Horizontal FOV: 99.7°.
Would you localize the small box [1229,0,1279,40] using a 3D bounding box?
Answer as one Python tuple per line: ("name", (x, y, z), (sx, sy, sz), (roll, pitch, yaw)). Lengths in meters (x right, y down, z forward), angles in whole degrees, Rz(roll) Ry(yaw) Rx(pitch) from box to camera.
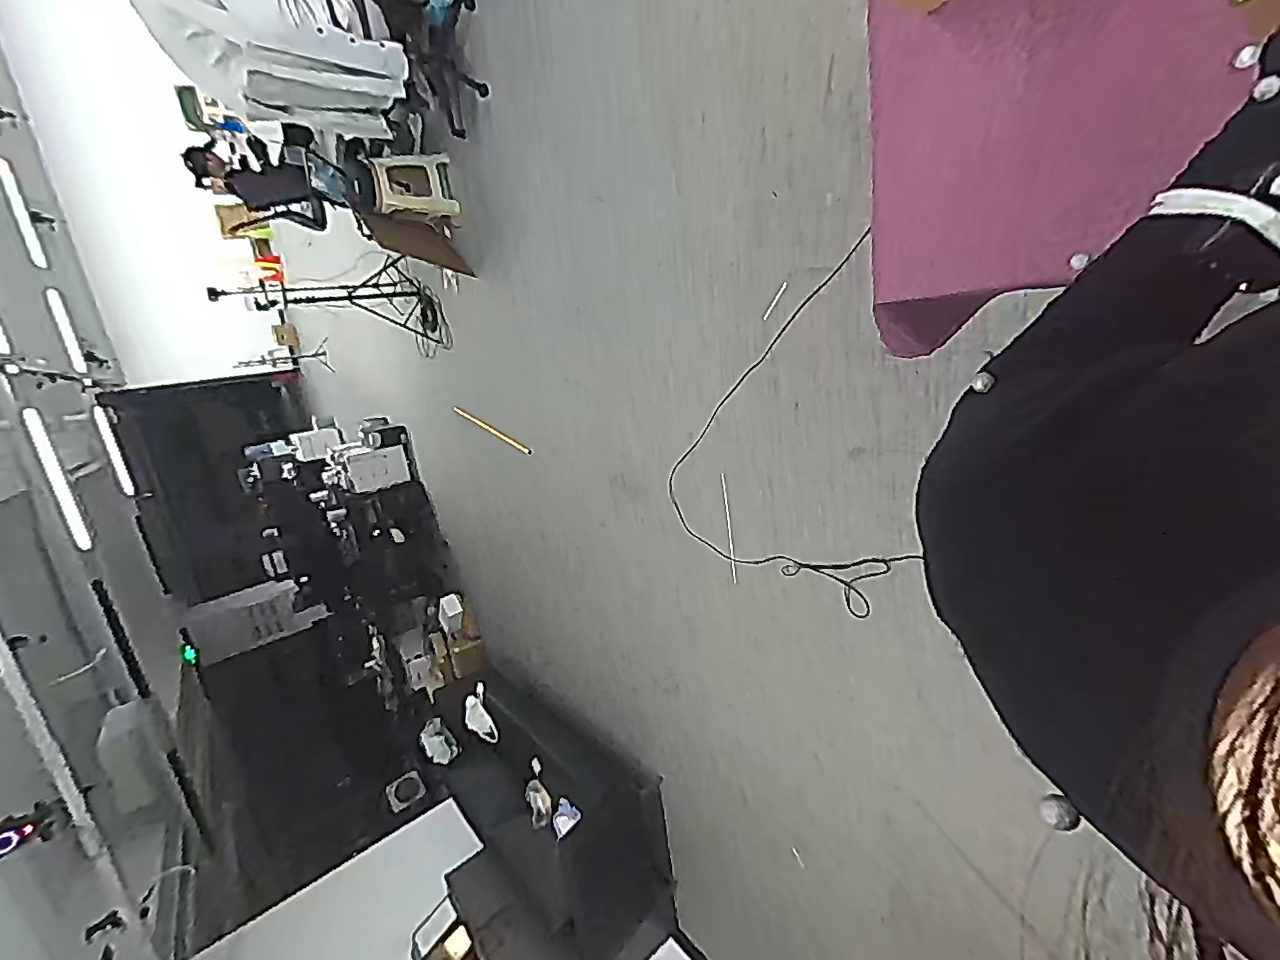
("small box", (0.527, -0.426, 0.350), (0.168, 0.176, 0.179), (12, 114, 50))
